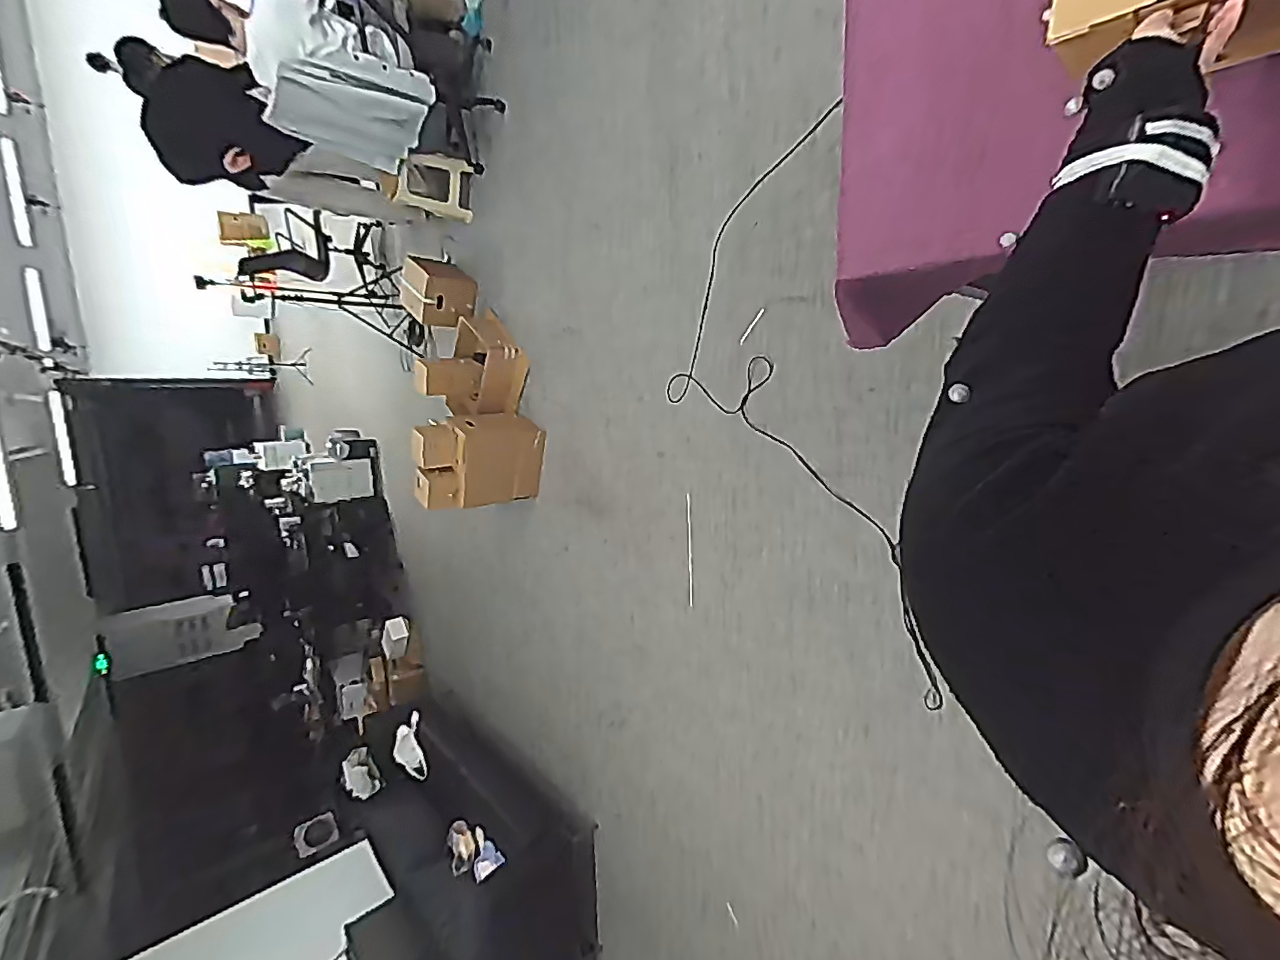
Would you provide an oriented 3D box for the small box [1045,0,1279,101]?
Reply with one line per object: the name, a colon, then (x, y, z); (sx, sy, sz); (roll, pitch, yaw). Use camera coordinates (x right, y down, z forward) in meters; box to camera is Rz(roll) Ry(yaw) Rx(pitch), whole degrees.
small box: (0.501, -0.491, 0.491); (0.168, 0.176, 0.179); (14, 108, 47)
